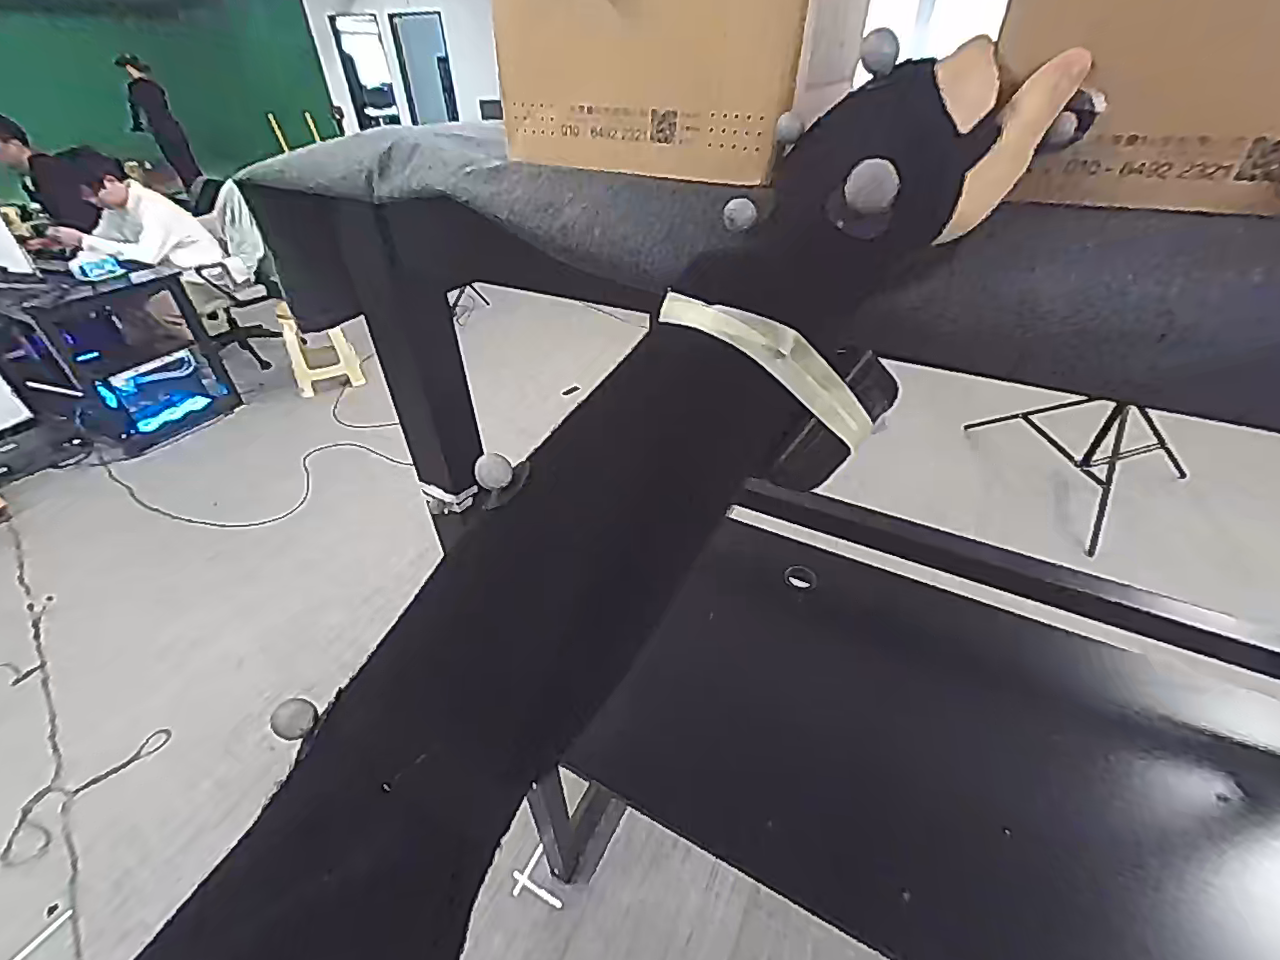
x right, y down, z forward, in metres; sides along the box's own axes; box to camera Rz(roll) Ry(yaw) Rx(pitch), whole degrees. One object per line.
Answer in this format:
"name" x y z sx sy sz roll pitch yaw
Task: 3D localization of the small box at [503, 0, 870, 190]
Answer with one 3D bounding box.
"small box" 0.036 -0.273 0.309 0.168 0.176 0.179 18 39 21
